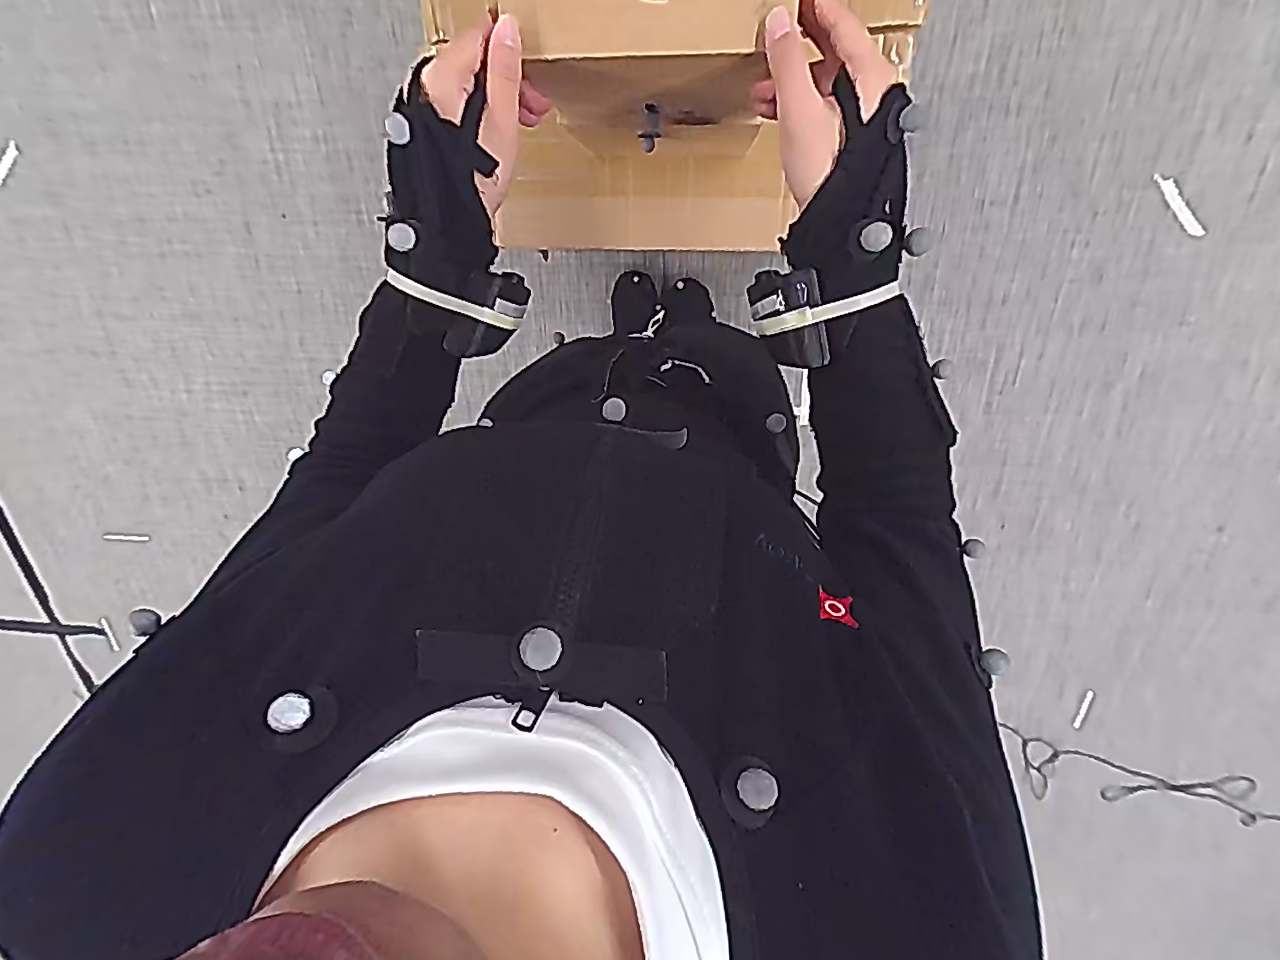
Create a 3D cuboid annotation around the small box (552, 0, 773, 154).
[{"bbox_3d":[0.024,-0.405,0.494,0.179,0.176,0.168,3,113,4],"label":"small box"}]
